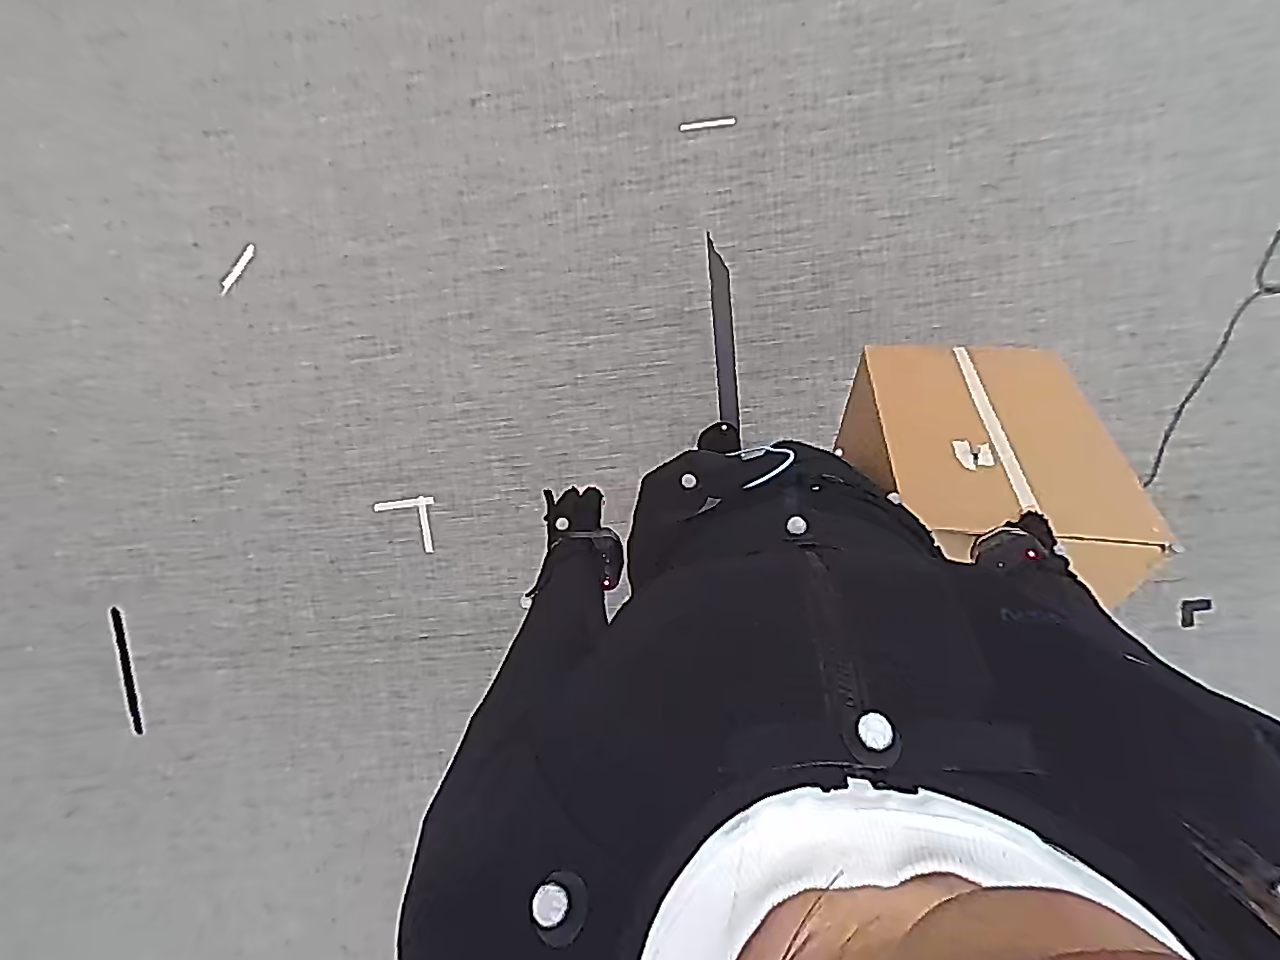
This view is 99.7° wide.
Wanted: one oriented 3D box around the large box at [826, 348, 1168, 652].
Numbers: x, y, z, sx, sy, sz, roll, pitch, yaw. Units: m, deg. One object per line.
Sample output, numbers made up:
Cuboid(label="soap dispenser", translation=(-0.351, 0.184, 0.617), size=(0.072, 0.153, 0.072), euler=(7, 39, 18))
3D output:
Cuboid(label="large box", translation=(0.522, 0.026, 0.914), size=(0.320, 0.408, 0.320), euler=(3, 139, 7))
